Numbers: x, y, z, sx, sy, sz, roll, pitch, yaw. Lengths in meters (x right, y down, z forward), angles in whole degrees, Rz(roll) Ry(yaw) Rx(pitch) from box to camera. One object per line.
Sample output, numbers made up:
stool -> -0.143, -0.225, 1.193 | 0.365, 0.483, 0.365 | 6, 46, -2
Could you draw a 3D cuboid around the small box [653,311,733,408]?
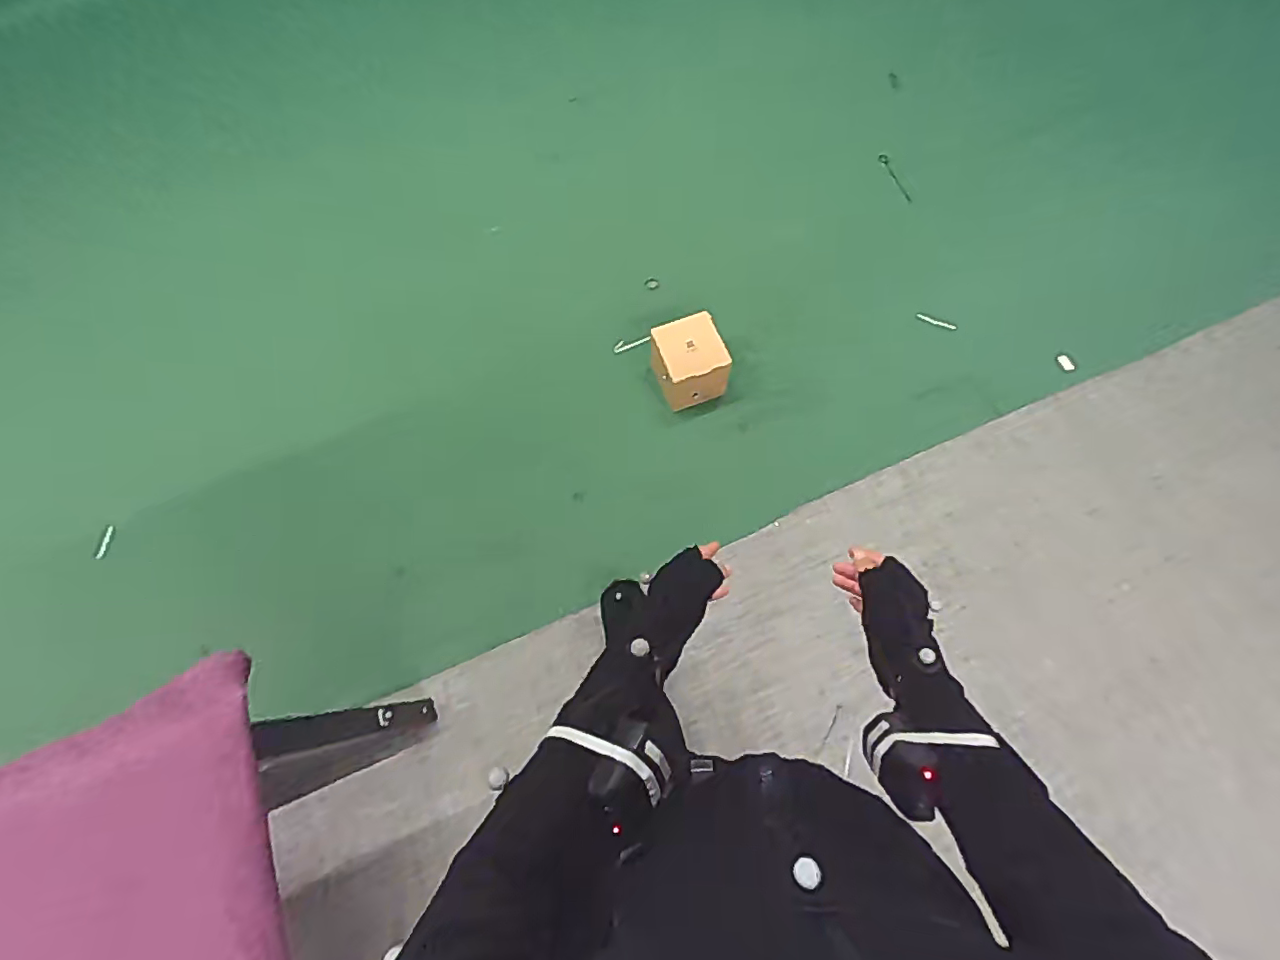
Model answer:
small box -> 0.139, -0.328, 1.498 | 0.168, 0.176, 0.179 | -21, 72, -6
